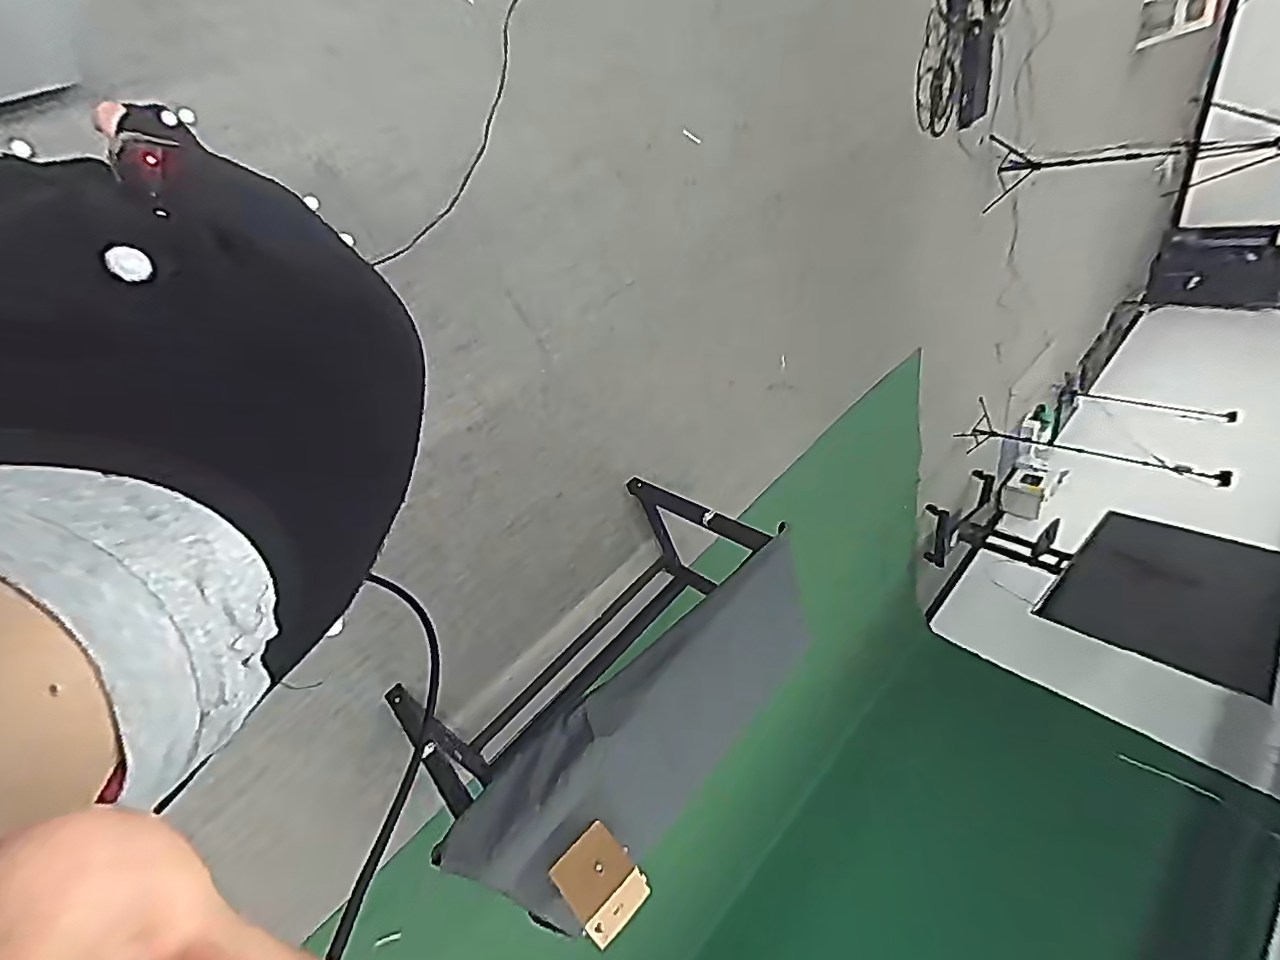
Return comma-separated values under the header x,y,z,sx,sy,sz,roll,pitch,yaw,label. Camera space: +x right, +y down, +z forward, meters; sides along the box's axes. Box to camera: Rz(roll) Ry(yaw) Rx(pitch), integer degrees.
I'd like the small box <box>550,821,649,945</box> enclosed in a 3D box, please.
x,y,z,sx,sy,sz,roll,pitch,yaw,label
-0.106,1.053,1.427,0.179,0.176,0.168,-36,127,-28,small box
